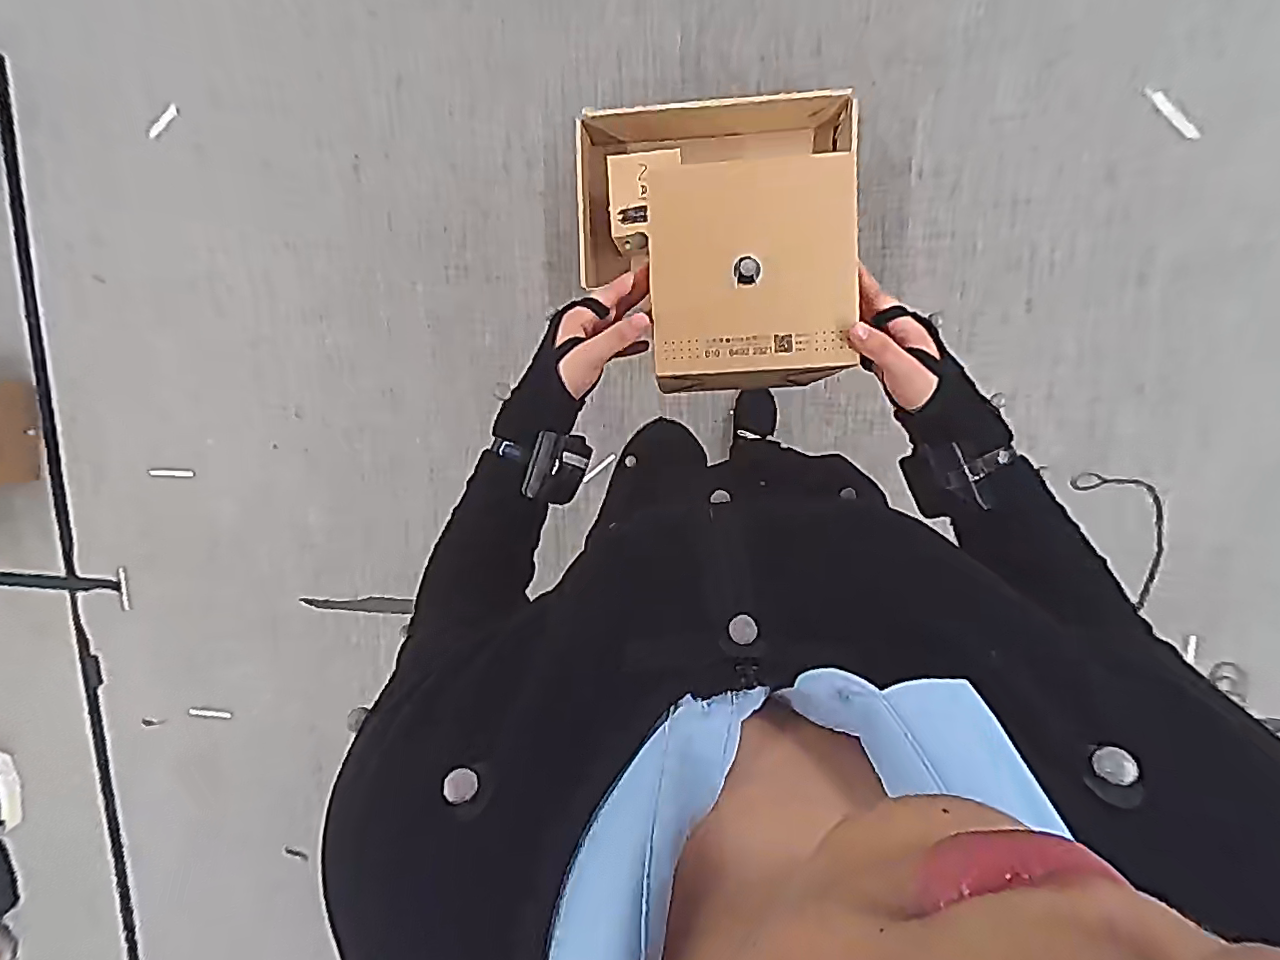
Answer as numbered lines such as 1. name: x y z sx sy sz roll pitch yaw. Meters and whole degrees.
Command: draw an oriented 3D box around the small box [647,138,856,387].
1. small box: 0.097 -0.183 0.509 0.168 0.179 0.176 -2 95 4
